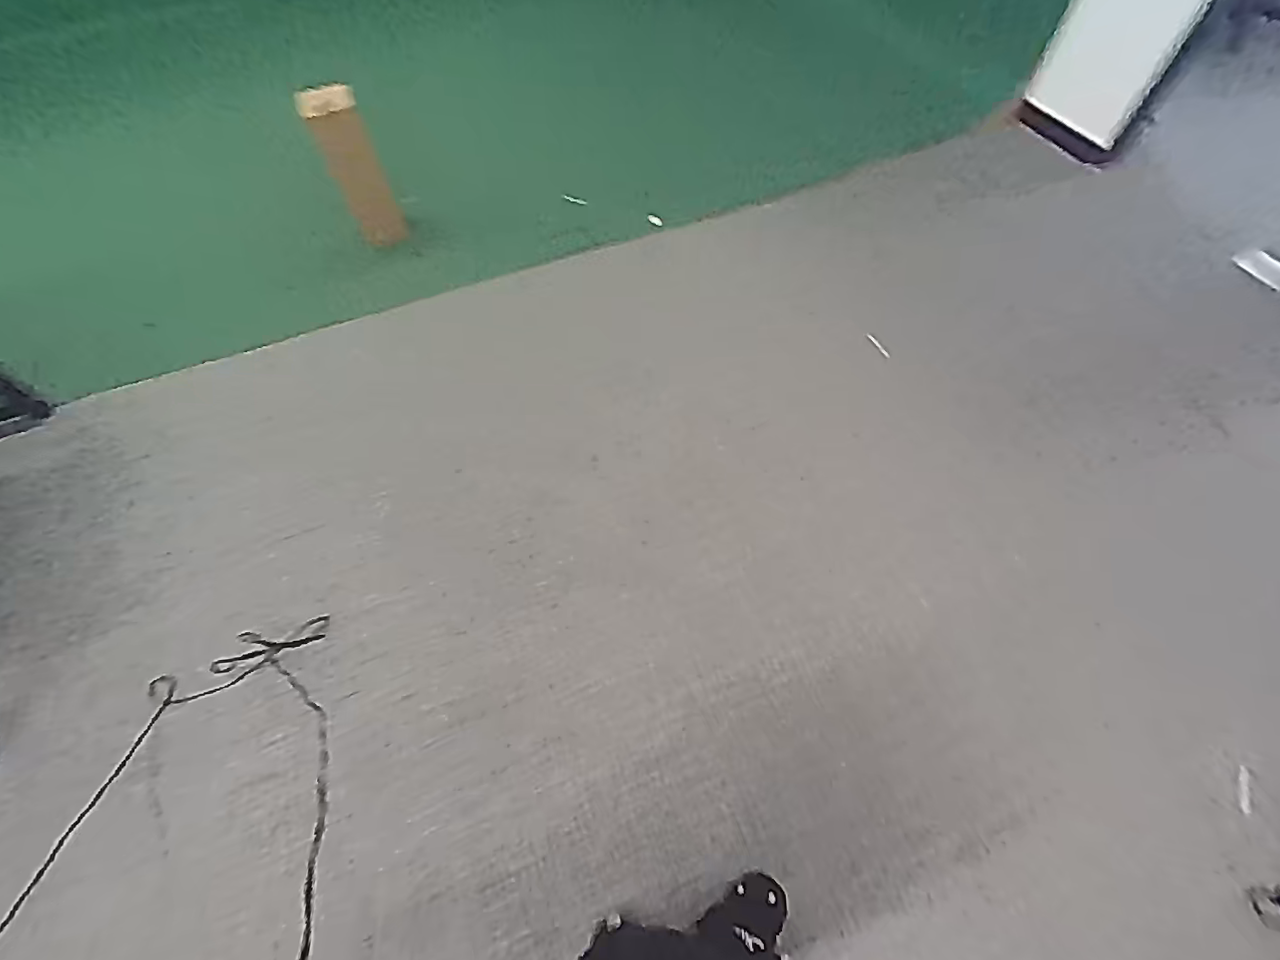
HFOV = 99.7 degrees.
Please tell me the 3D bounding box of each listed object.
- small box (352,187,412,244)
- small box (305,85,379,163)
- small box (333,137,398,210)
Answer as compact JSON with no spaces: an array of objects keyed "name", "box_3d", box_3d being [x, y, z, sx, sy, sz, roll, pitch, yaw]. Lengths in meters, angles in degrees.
[{"name":"small box","box_3d":[-1.035,-1.081,2.166,0.168,0.176,0.179,-19,61,-7]},{"name":"small box","box_3d":[-1.042,-1.242,1.901,0.168,0.176,0.179,-21,60,-10]},{"name":"small box","box_3d":[-1.037,-1.157,2.042,0.168,0.176,0.179,-20,60,-8]}]
